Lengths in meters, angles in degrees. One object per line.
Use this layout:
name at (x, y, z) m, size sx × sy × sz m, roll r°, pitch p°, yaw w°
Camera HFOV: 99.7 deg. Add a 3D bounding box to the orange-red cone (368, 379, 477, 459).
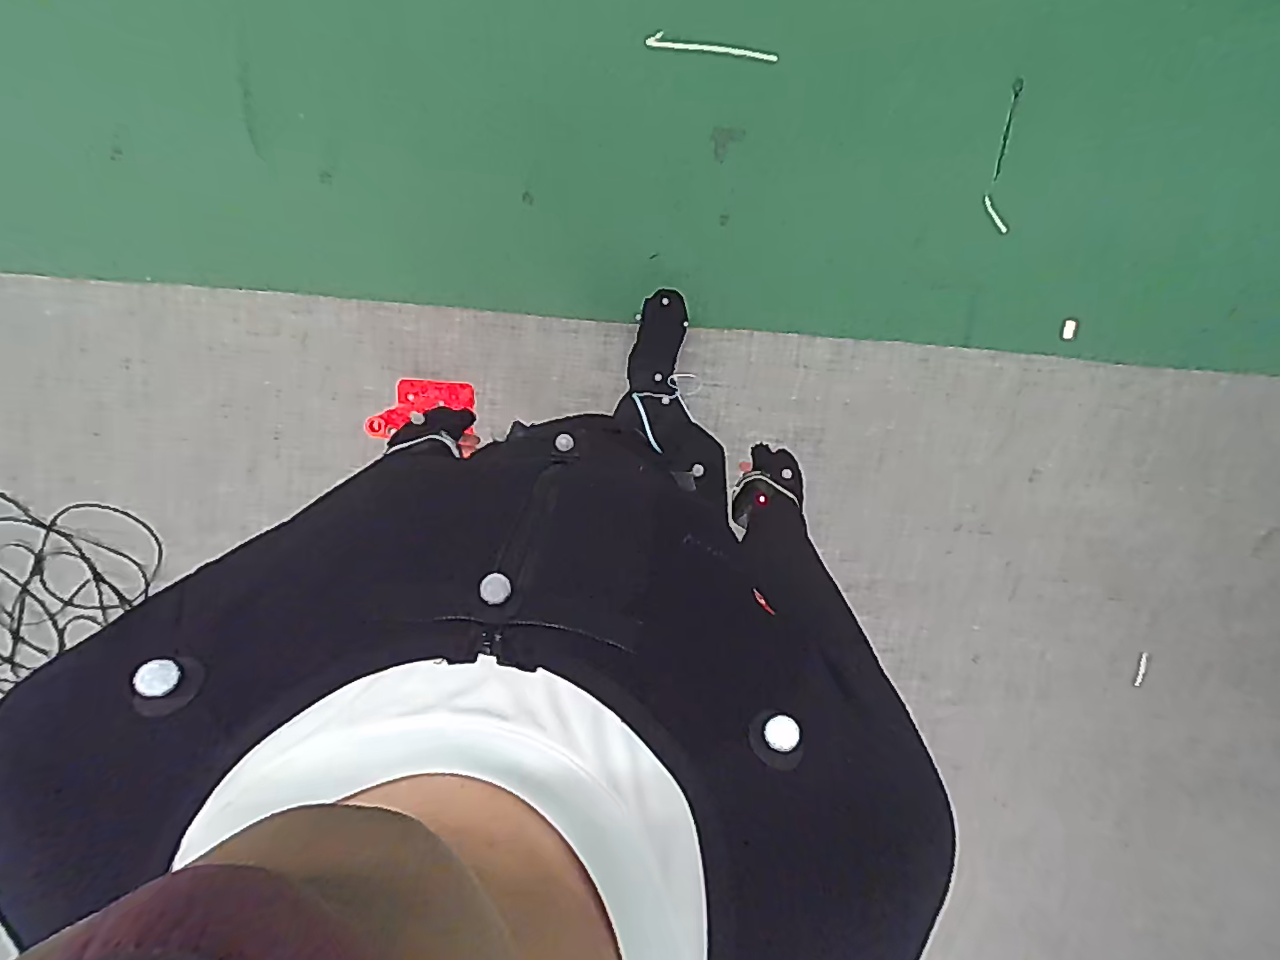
orange-red cone at (-0.527, -0.130, 1.256) m, size 0.198 × 0.360 × 0.199 m, roll 5°, pitch 100°, yaw -1°
